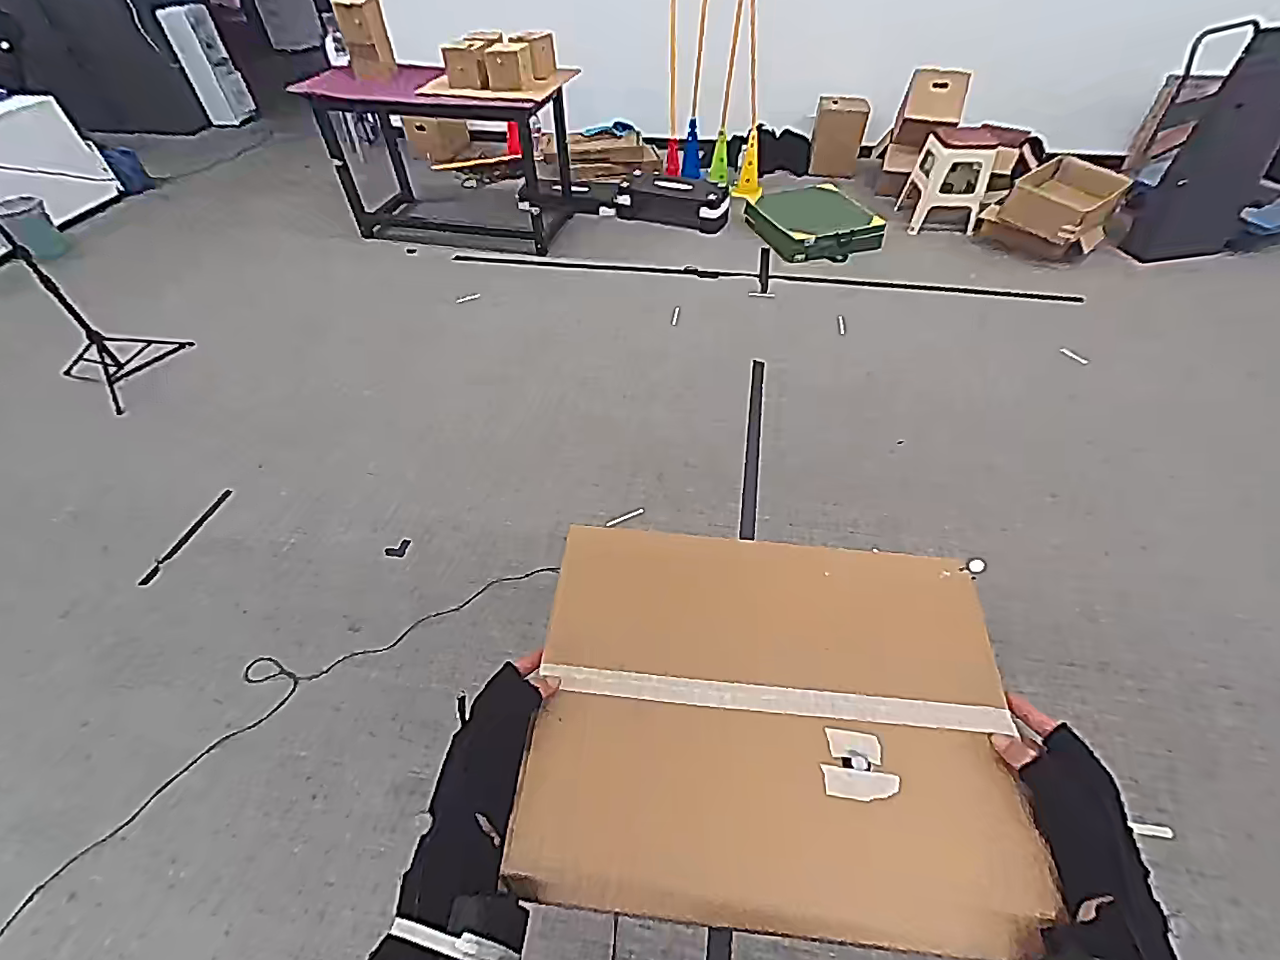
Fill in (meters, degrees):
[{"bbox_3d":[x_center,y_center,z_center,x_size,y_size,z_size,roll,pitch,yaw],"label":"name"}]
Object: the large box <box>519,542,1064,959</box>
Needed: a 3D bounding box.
[{"bbox_3d":[0.116,0.289,0.597,0.408,0.320,0.320,5,55,3],"label":"large box"}]
